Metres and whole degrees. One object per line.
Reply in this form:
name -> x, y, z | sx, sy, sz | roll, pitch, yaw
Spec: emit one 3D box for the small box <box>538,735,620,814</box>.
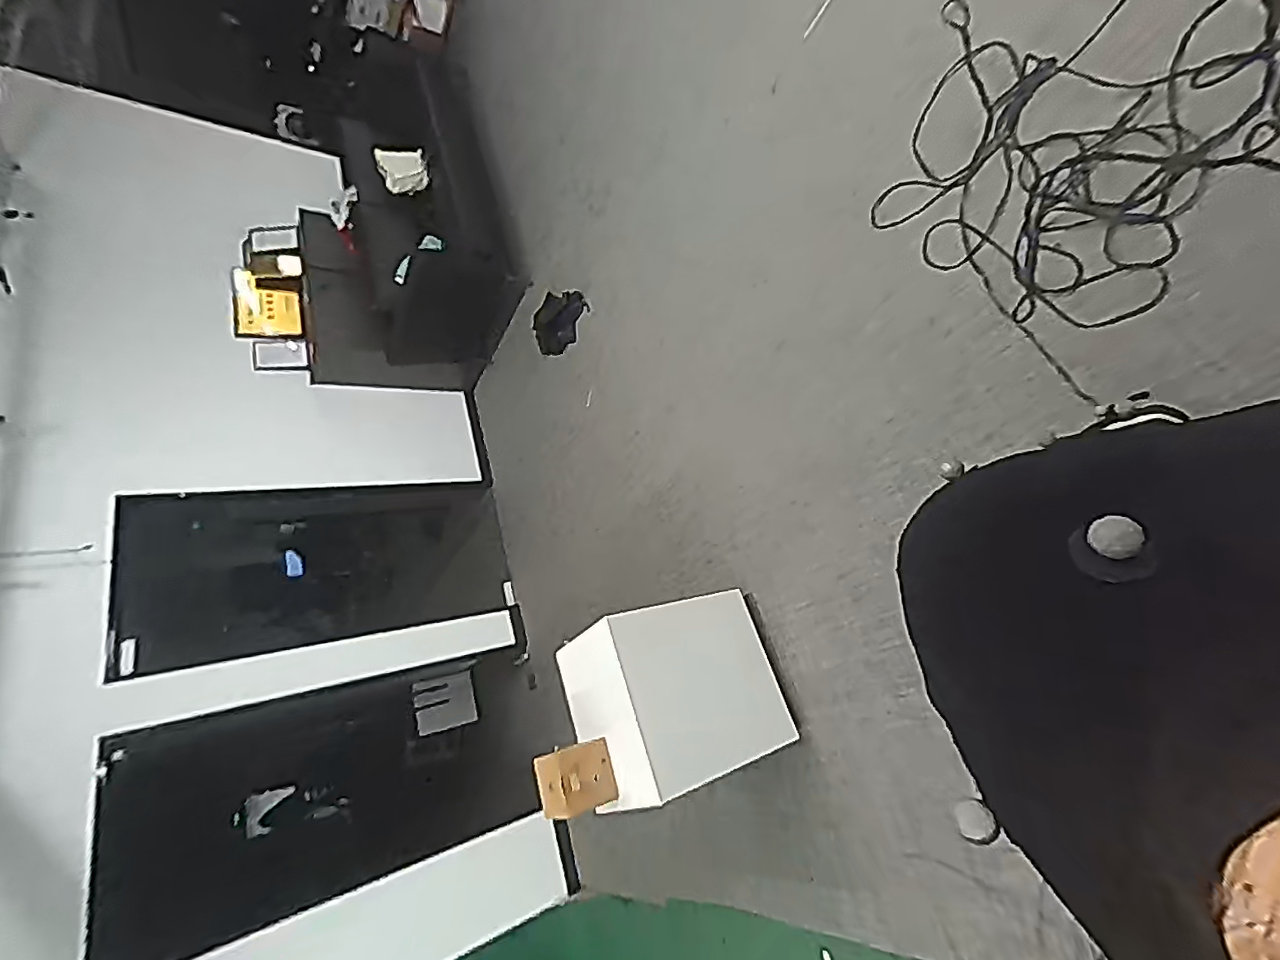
small box -> -0.182, 0.873, 1.607 | 0.179, 0.176, 0.168 | -42, 57, 47
